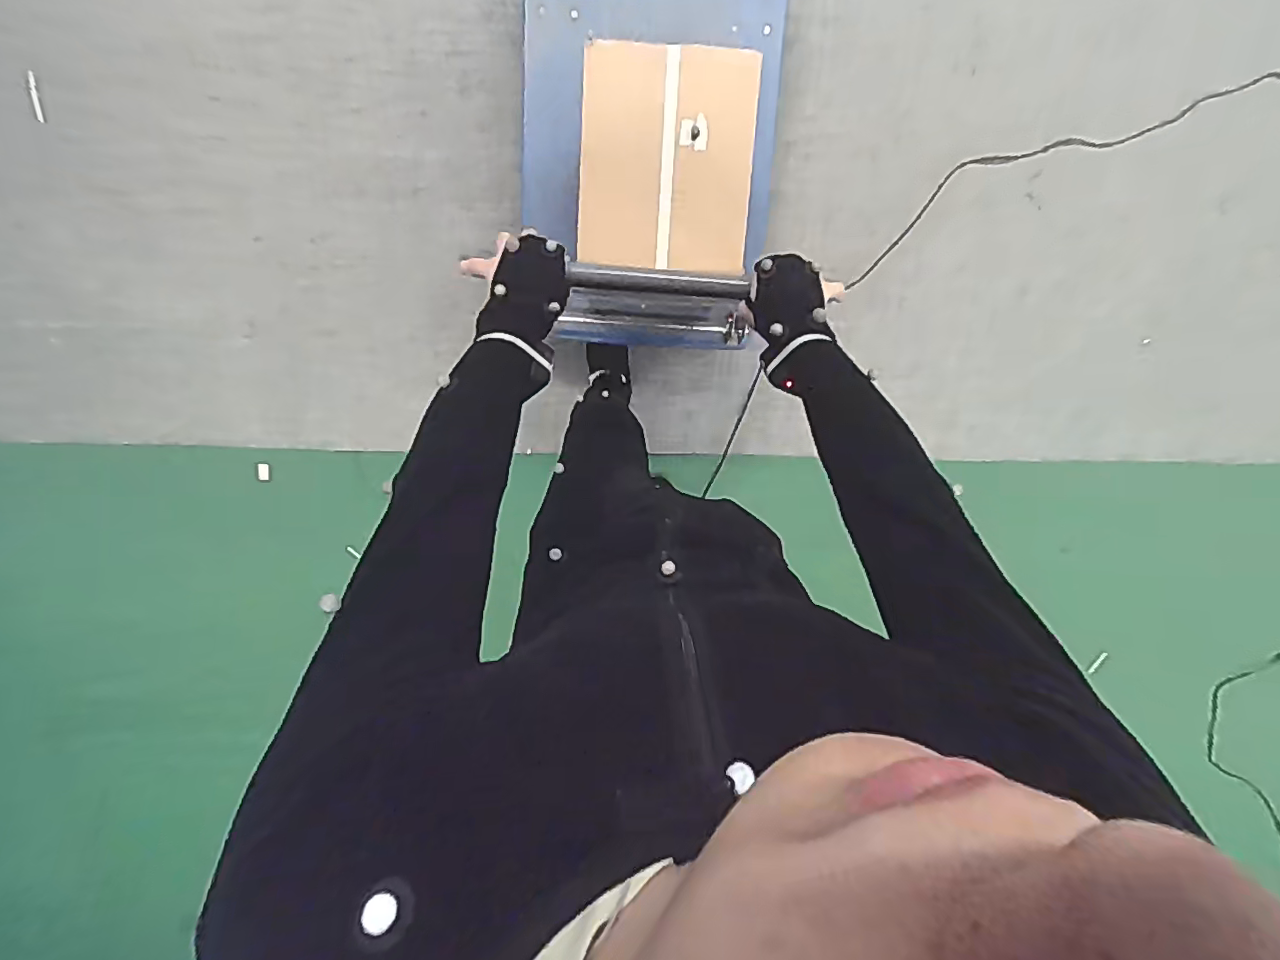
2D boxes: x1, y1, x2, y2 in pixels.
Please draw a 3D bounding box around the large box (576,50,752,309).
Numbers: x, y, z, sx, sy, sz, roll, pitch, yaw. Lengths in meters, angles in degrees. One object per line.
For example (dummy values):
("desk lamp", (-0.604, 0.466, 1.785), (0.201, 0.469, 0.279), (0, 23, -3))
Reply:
("large box", (0.037, -0.584, 1.135), (0.320, 0.320, 0.408), (2, 101, -3))
